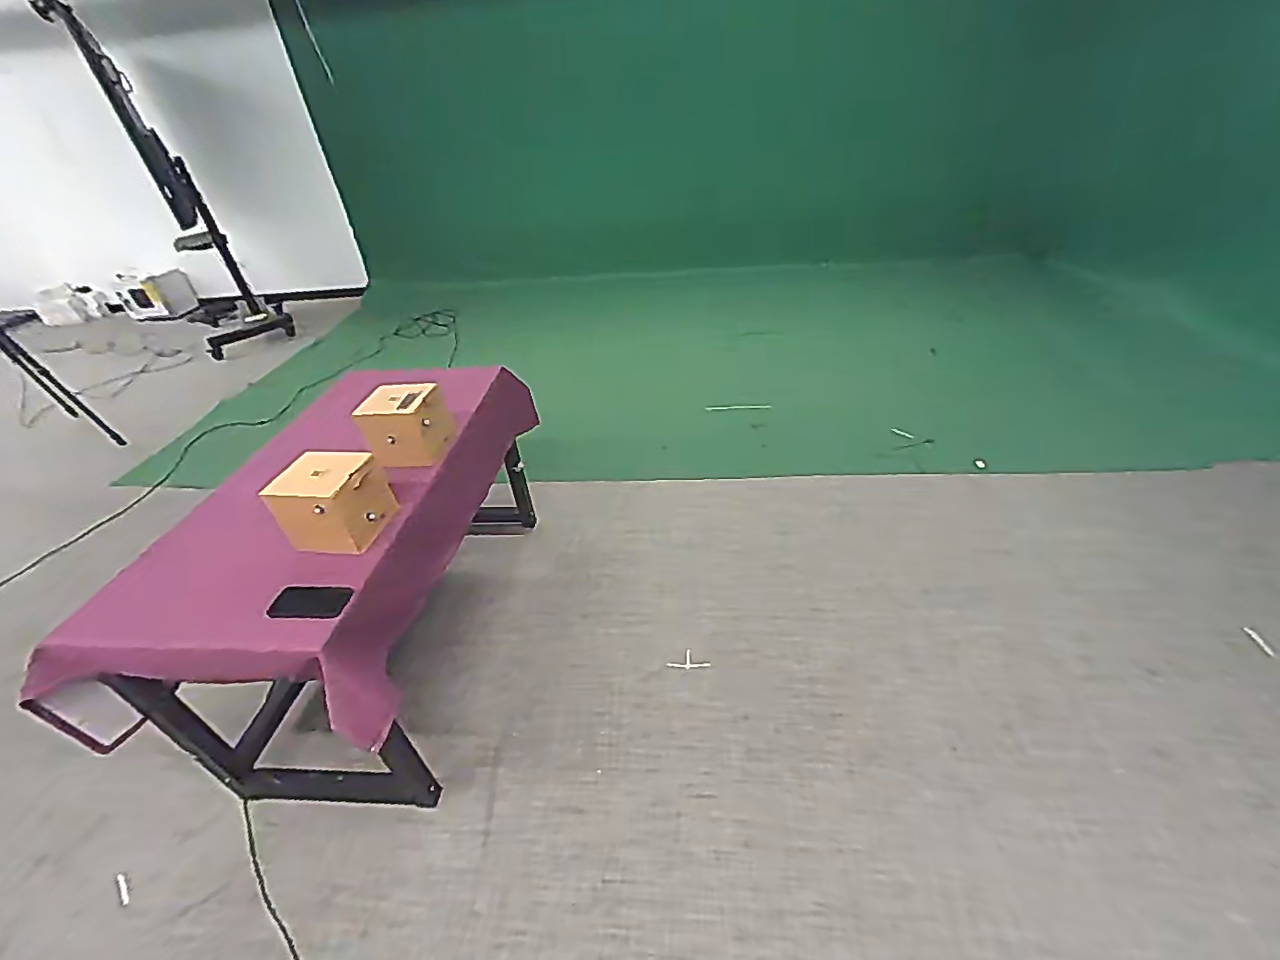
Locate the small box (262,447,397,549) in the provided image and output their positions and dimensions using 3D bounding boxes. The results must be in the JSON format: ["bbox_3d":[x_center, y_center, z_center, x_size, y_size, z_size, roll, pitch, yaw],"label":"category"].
[{"bbox_3d":[-0.694,0.041,1.230,0.179,0.176,0.168,2,38,9],"label":"small box"}]
